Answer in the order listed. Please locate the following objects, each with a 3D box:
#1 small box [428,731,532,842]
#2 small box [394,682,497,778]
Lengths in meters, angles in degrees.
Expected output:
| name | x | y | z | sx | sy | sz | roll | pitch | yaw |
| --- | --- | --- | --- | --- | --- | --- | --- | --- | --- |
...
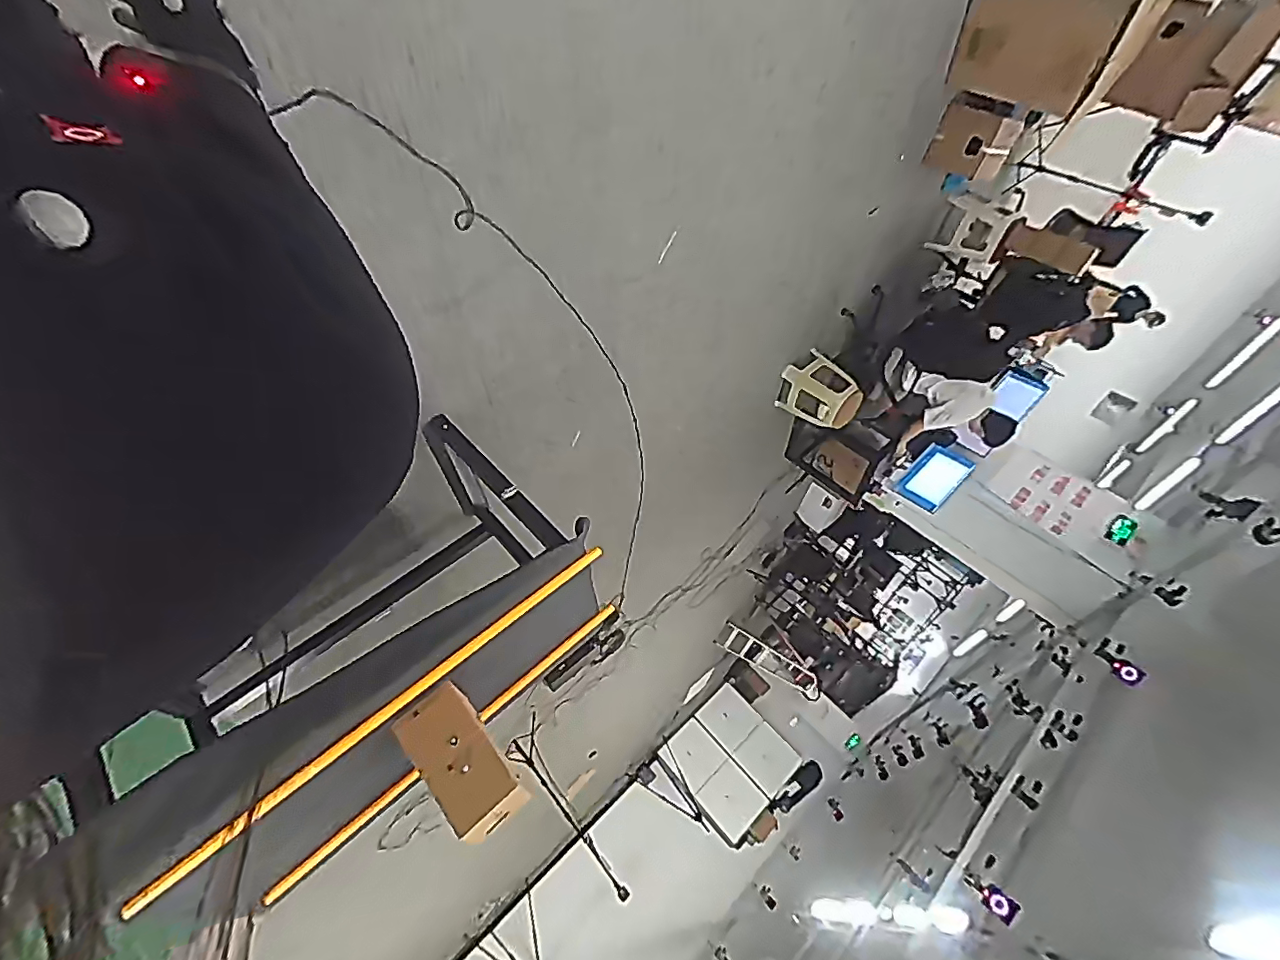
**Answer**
| name | x | y | z | sx | sy | sz | roll | pitch | yaw |
| --- | --- | --- | --- | --- | --- | --- | --- | --- | --- |
| small box | -0.395 | 0.758 | 1.345 | 0.168 | 0.176 | 0.179 | -37 | 150 | -24 |
| small box | -0.507 | 0.660 | 1.416 | 0.168 | 0.176 | 0.179 | -39 | 152 | -23 |
